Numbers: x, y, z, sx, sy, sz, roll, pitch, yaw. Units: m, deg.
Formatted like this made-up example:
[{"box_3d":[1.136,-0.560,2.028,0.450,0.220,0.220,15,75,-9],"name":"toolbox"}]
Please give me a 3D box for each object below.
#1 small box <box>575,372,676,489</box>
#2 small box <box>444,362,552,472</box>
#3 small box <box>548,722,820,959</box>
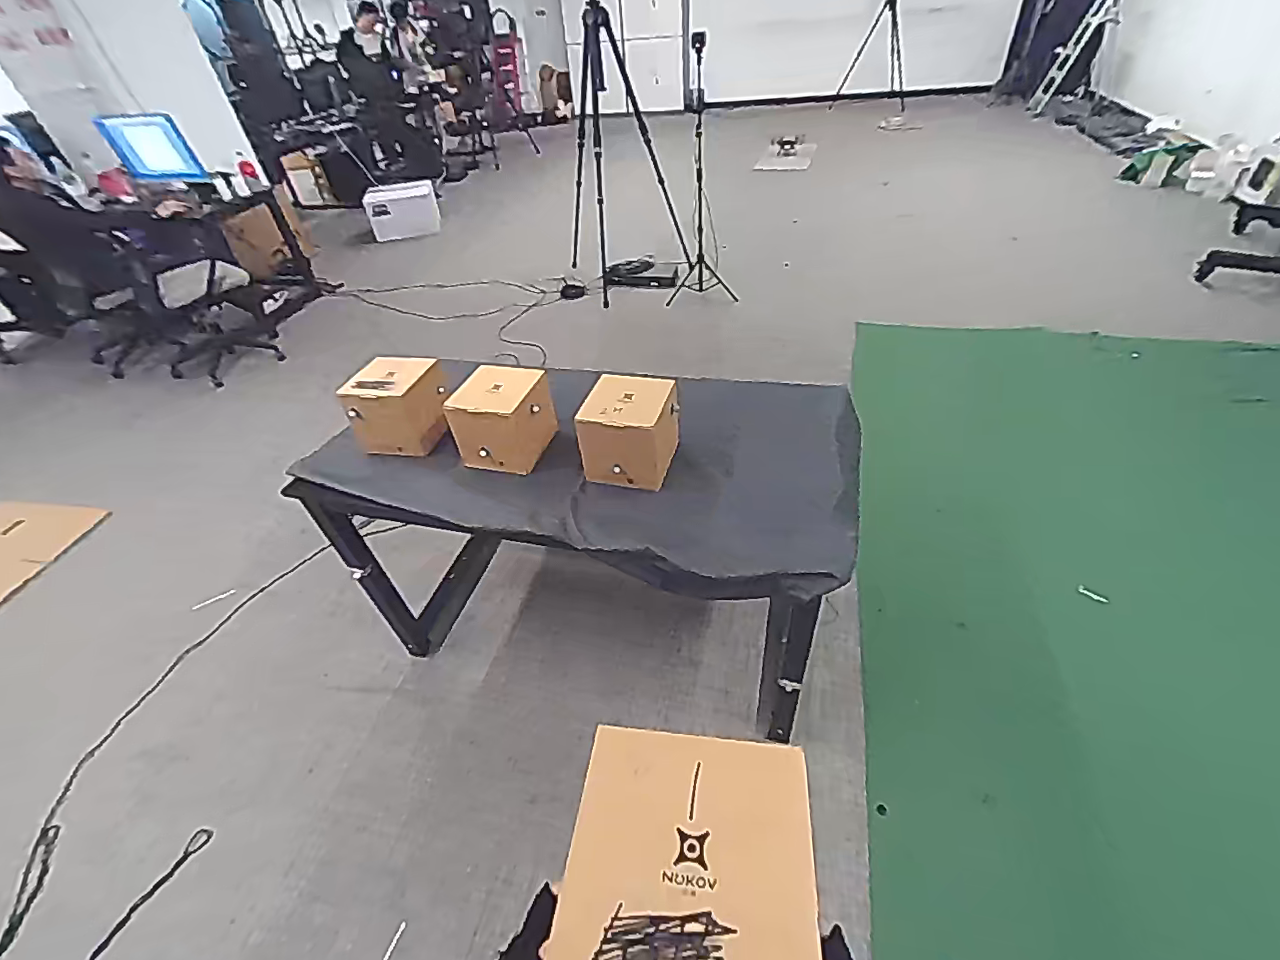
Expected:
[{"box_3d":[-0.023,-0.108,1.152,0.168,0.176,0.179,8,44,15],"name":"small box"},{"box_3d":[-0.309,-0.145,1.226,0.168,0.176,0.179,8,45,14],"name":"small box"},{"box_3d":[0.040,0.318,0.414,0.168,0.176,0.179,3,39,9],"name":"small box"}]
